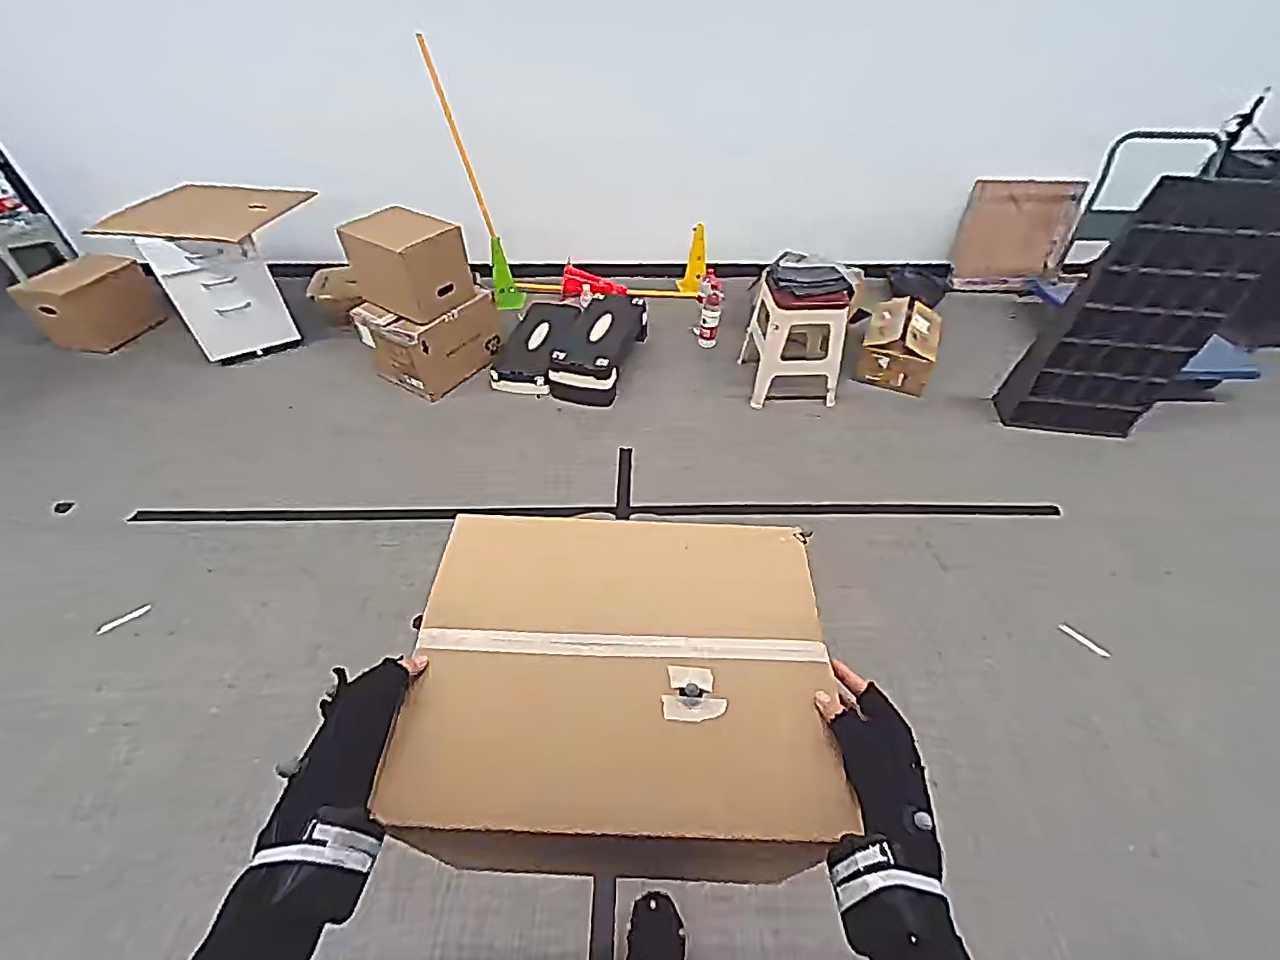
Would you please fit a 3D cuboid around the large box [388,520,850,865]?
[{"bbox_3d":[-0.021,0.267,0.665,0.408,0.320,0.320,2,50,-1],"label":"large box"}]
